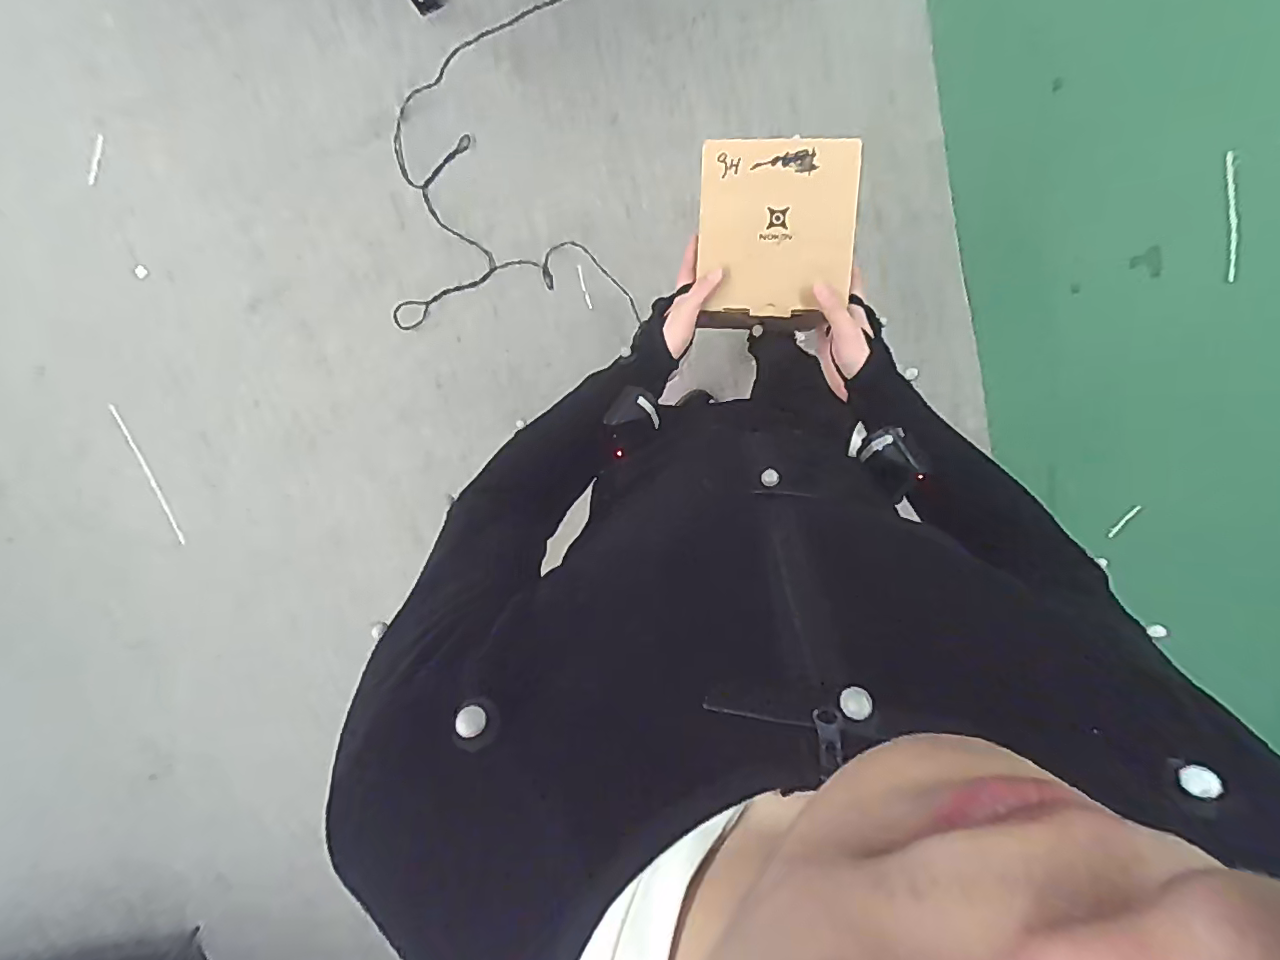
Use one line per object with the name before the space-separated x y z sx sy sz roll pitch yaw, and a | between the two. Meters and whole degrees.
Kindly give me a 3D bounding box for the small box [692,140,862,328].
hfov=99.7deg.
small box | 0.149 -0.279 0.649 0.168 0.176 0.179 3 100 4
